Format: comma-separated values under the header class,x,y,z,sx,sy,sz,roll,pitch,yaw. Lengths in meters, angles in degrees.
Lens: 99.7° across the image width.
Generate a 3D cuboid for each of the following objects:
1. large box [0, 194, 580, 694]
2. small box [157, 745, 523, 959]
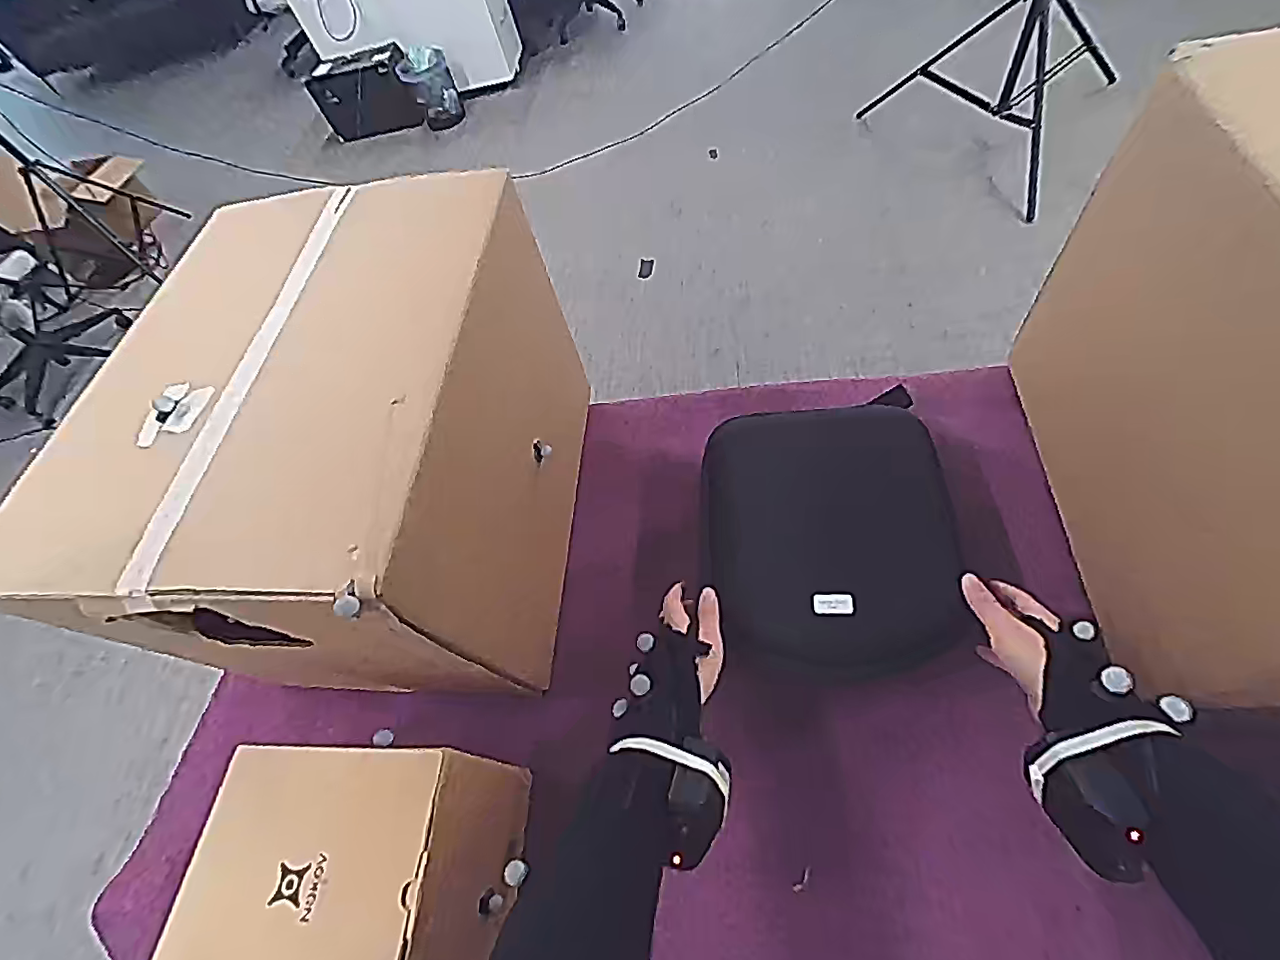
class,x,y,z,sx,sy,sz,roll,pitch,yaw
large box,-0.258,-0.016,0.556,0.320,0.320,0.408,-3,61,10
small box,-0.214,0.313,0.427,0.179,0.176,0.168,-4,57,10
